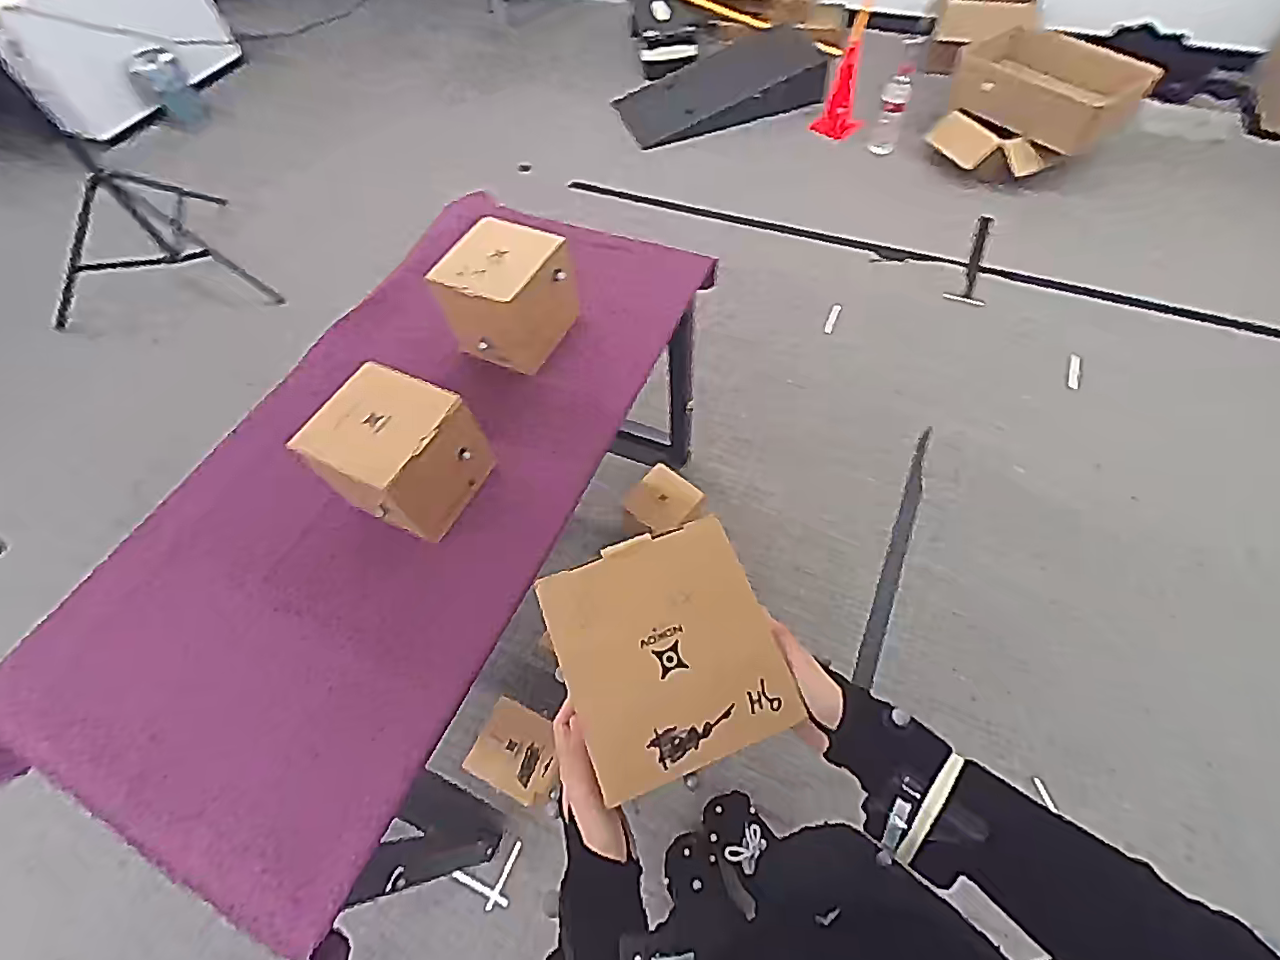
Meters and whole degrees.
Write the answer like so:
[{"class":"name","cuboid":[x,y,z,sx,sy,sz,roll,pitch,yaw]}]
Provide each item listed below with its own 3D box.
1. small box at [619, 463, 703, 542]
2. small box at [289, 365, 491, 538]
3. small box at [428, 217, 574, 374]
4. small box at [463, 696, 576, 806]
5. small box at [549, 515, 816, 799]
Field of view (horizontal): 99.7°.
[{"class":"small box","cuboid":[0.060,0.090,1.542,0.168,0.176,0.179,37,70,21]},{"class":"small box","cuboid":[-0.350,-0.035,0.797,0.179,0.176,0.168,20,62,17]},{"class":"small box","cuboid":[-0.230,-0.323,0.954,0.168,0.176,0.179,21,64,16]},{"class":"small box","cuboid":[-0.268,0.625,1.250,0.179,0.176,0.168,21,63,16]},{"class":"small box","cuboid":[0.027,0.158,0.498,0.168,0.176,0.179,-19,70,-8]}]
